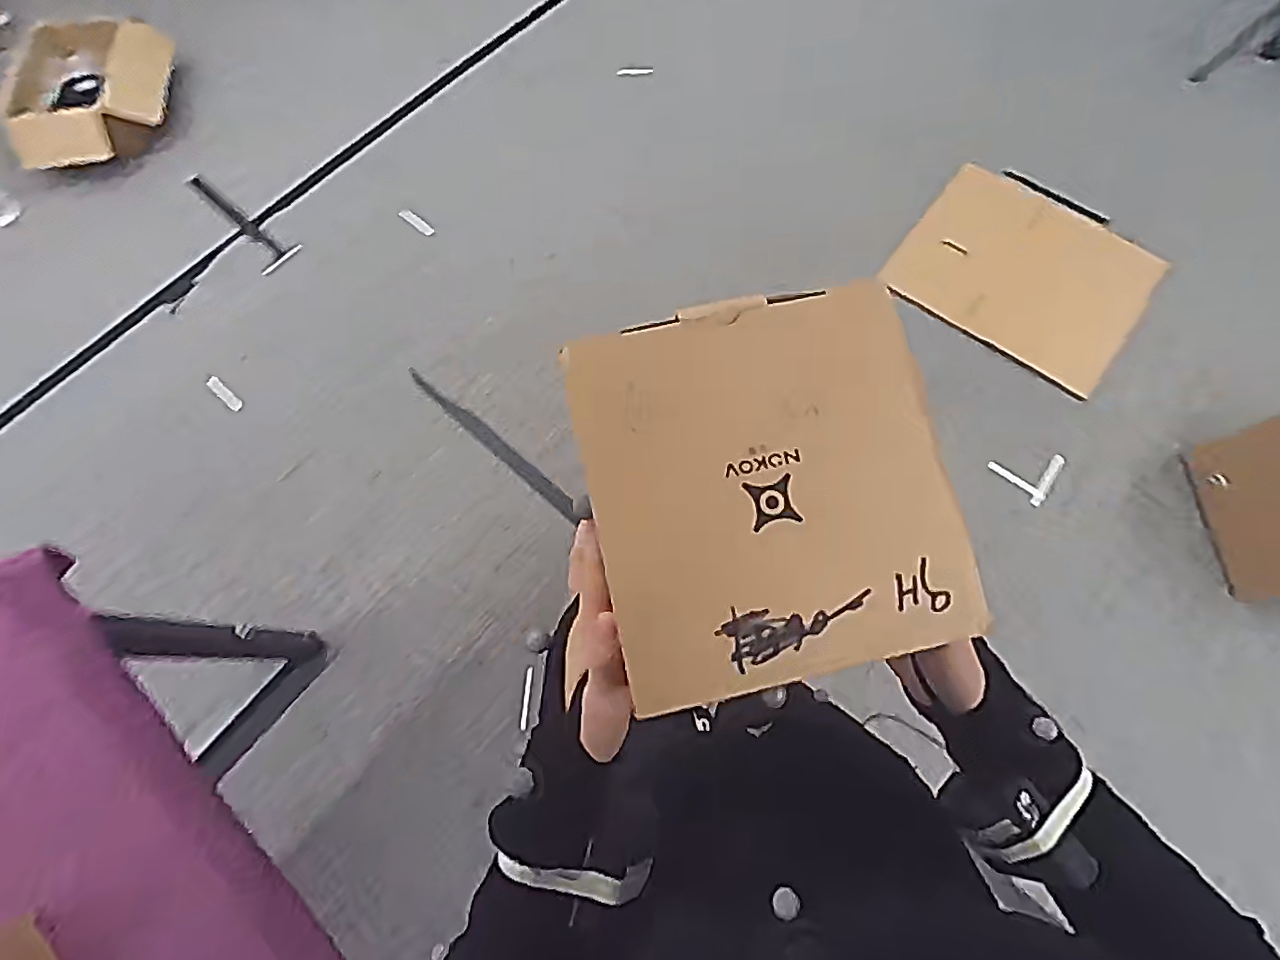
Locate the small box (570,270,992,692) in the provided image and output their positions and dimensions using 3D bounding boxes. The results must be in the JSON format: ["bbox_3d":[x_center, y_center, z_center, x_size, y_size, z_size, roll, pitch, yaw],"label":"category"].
[{"bbox_3d":[0.059,0.007,0.328,0.168,0.176,0.179,-12,81,-2],"label":"small box"}]
